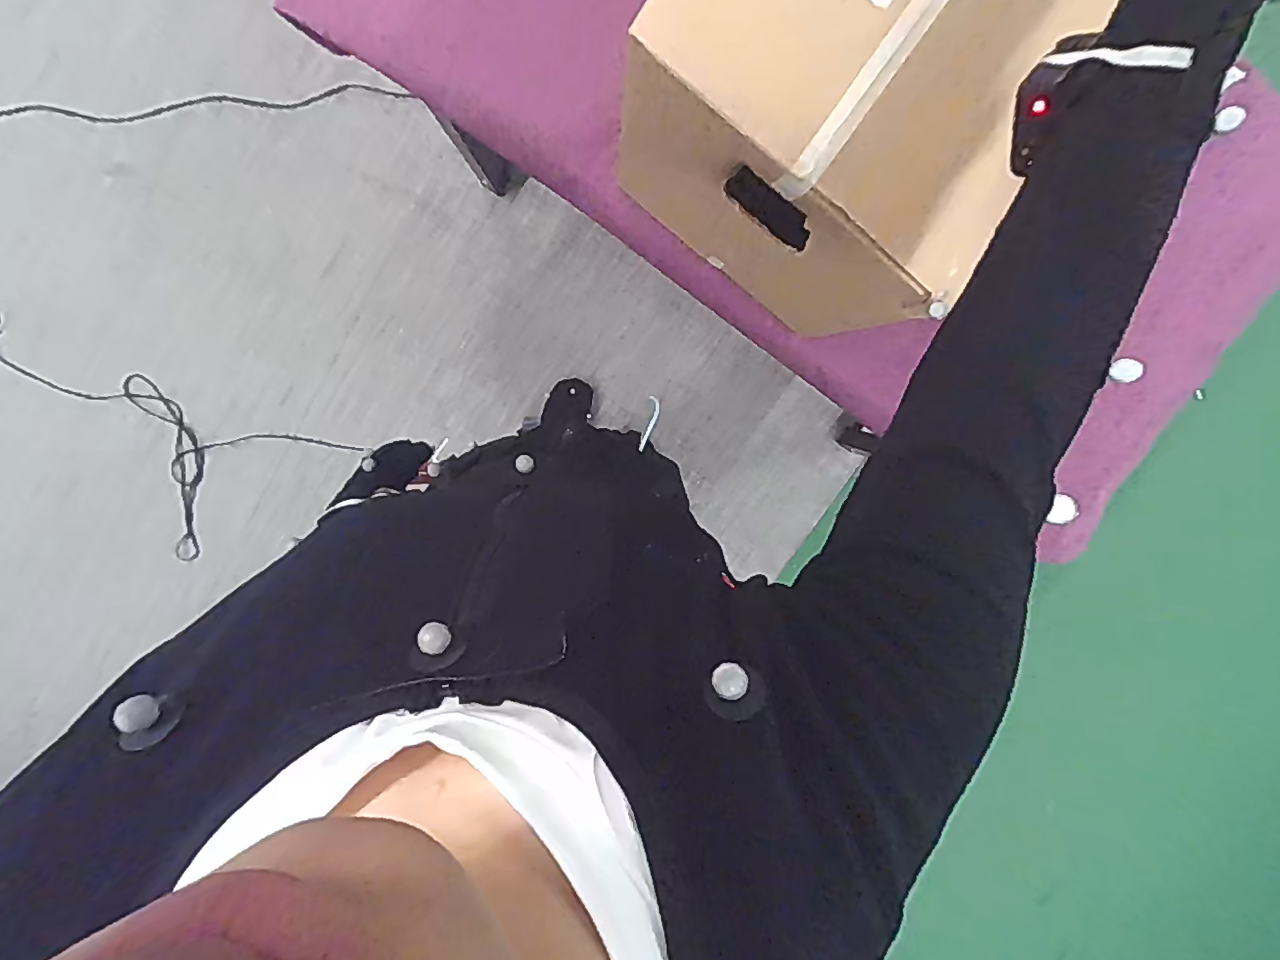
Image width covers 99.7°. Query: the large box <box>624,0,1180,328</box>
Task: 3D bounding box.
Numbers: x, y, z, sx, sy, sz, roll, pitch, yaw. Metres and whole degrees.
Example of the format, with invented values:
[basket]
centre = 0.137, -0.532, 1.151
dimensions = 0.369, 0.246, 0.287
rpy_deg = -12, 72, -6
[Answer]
[large box]
centre = 0.224, -0.414, 0.539
dimensions = 0.320, 0.320, 0.408
rpy_deg = 36, 98, -10
